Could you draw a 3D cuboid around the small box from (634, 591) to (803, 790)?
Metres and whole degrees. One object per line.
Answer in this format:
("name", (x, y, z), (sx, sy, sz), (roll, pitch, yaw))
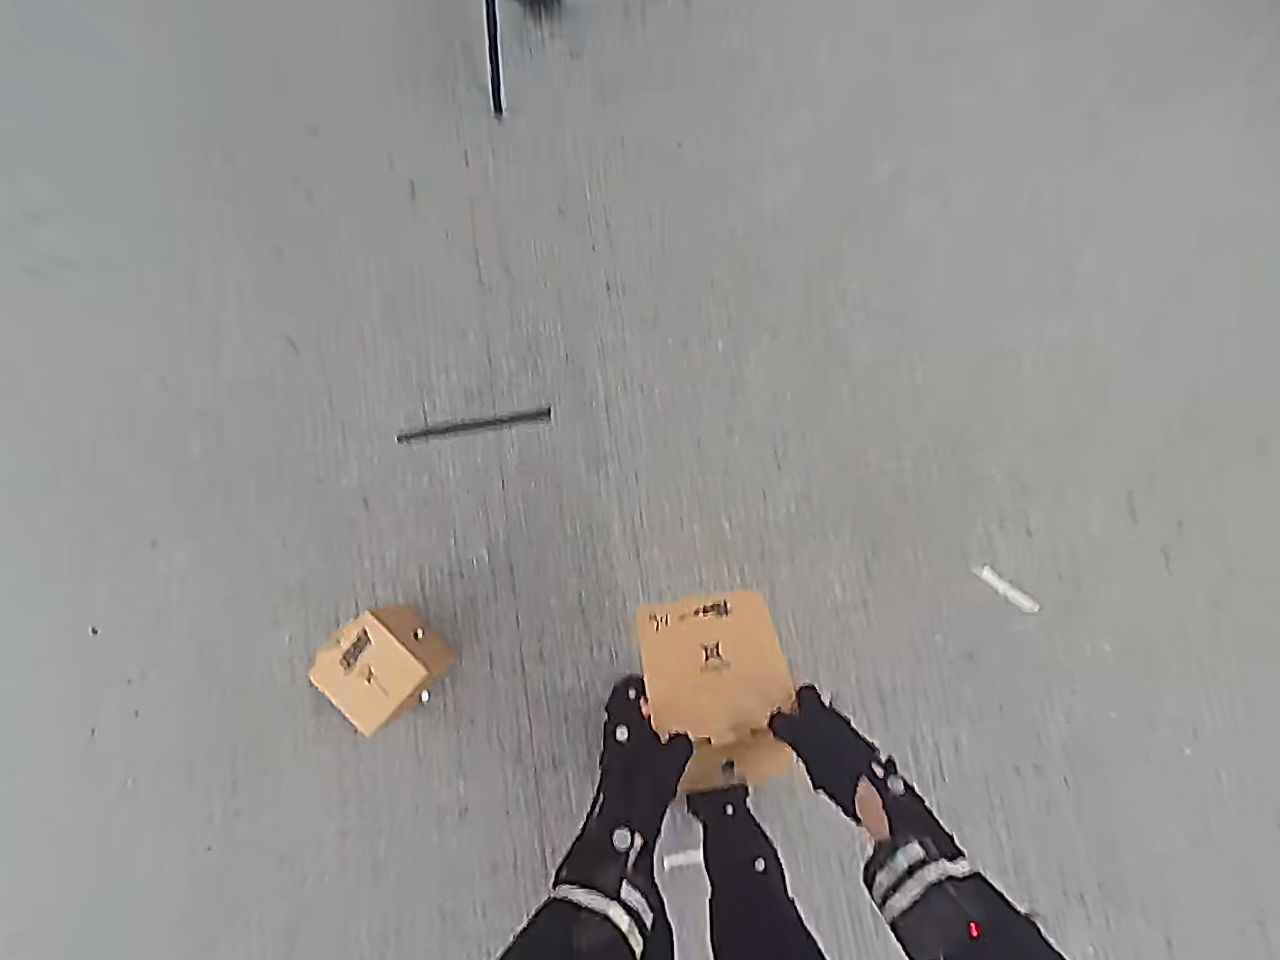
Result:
("small box", (0.089, 0.268, 0.677), (0.168, 0.176, 0.179), (-8, 45, -3))

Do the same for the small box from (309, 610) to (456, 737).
("small box", (-0.518, 0.384, 1.111), (0.179, 0.176, 0.168), (42, 84, 6))
